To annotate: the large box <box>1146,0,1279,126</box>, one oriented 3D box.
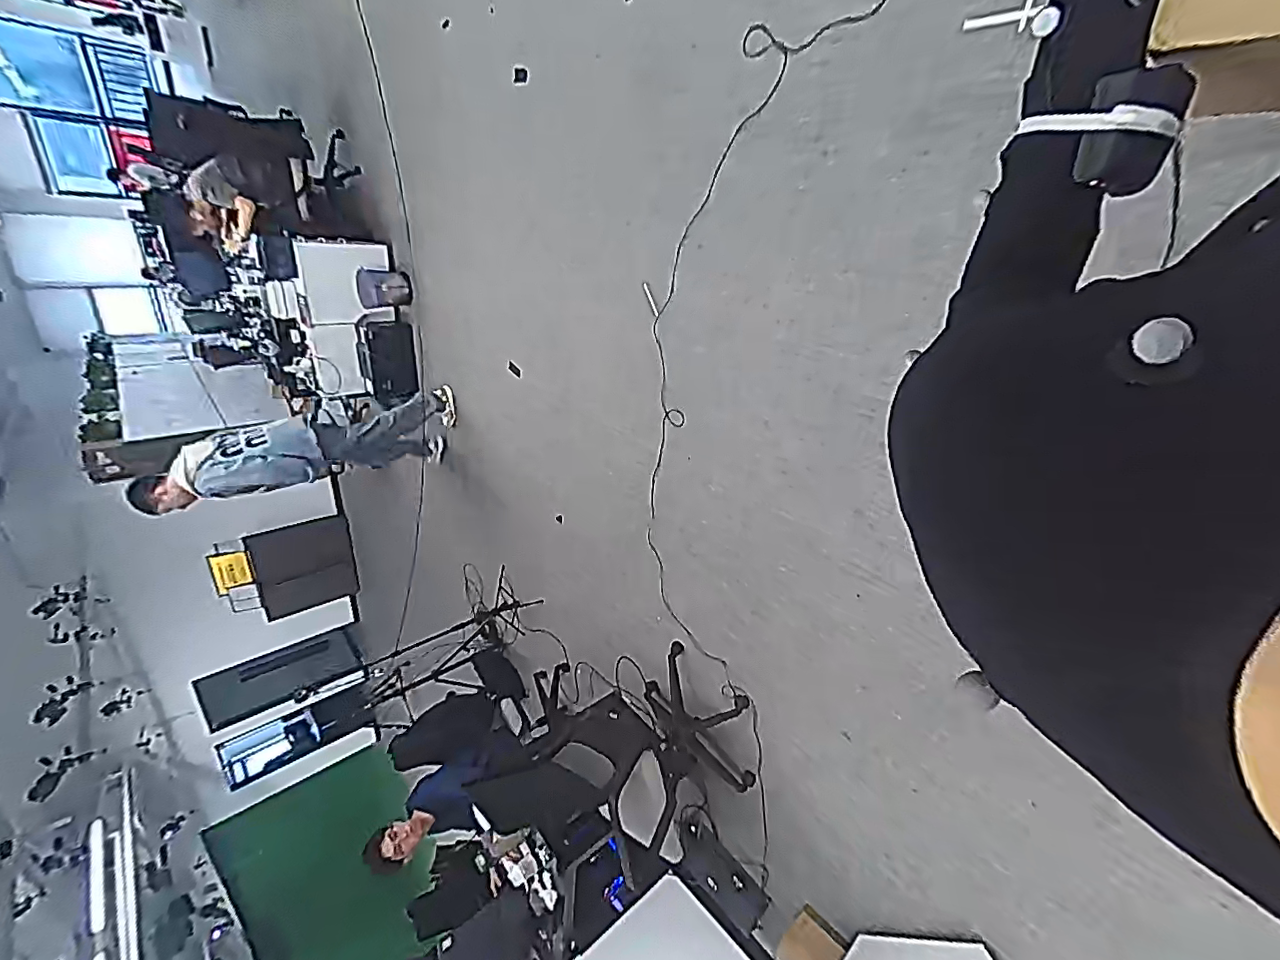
[{"bbox_3d":[0.571,-0.393,0.262,0.408,0.320,0.320,23,124,39],"label":"large box"}]
